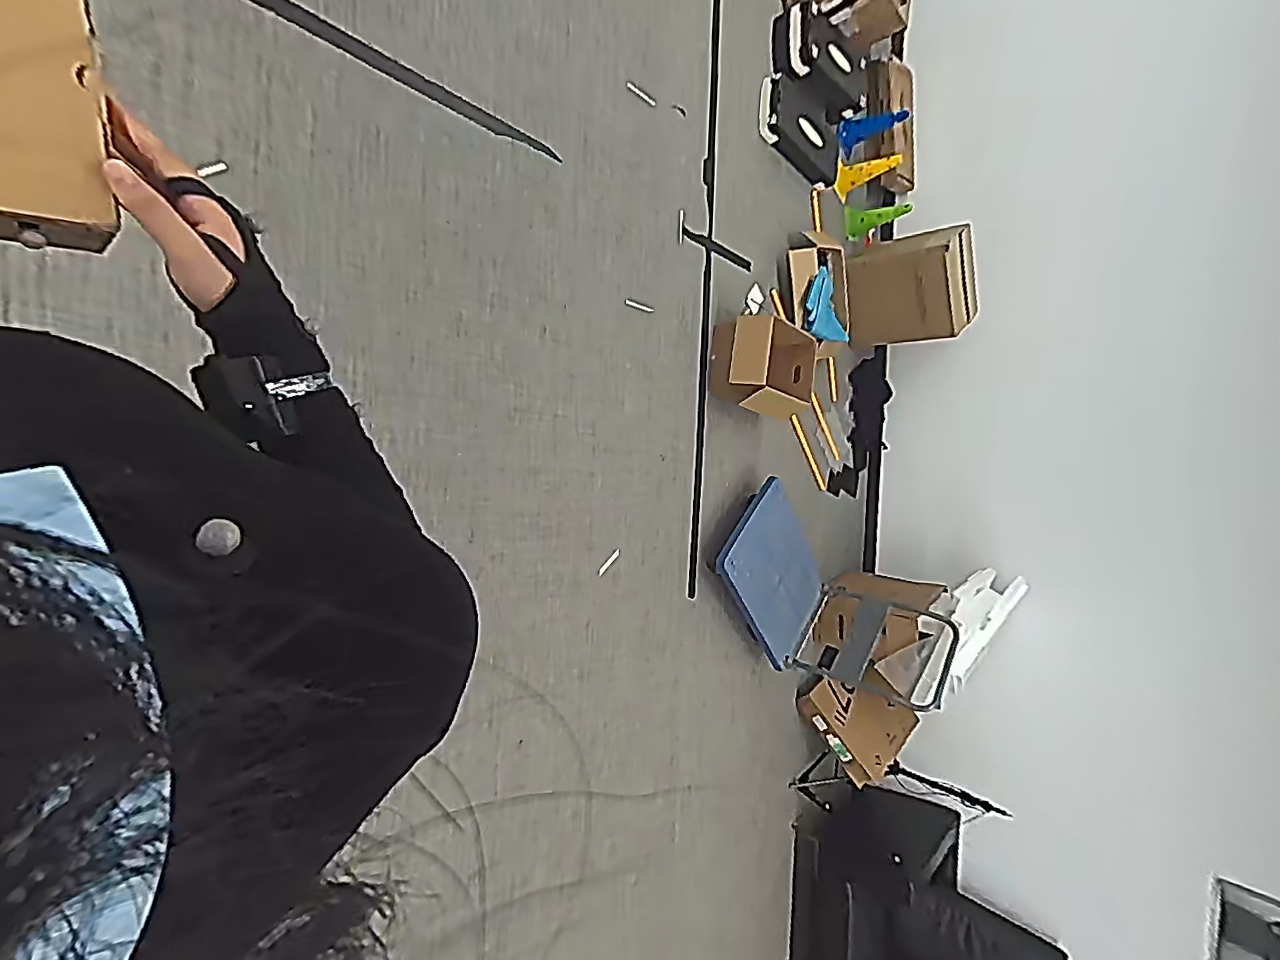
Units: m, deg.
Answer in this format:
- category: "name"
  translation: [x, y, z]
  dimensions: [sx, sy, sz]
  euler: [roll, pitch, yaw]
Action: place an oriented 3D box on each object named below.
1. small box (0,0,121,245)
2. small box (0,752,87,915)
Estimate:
- category: "small box"
  translation: [-0.435, -0.241, 0.311]
  dimensions: [0.179, 0.176, 0.168]
  euler: [-10, 109, -47]
- category: "small box"
  translation: [-1.011, 0.559, 0.861]
  dimensions: [0.168, 0.176, 0.179]
  euler: [7, 89, -46]
